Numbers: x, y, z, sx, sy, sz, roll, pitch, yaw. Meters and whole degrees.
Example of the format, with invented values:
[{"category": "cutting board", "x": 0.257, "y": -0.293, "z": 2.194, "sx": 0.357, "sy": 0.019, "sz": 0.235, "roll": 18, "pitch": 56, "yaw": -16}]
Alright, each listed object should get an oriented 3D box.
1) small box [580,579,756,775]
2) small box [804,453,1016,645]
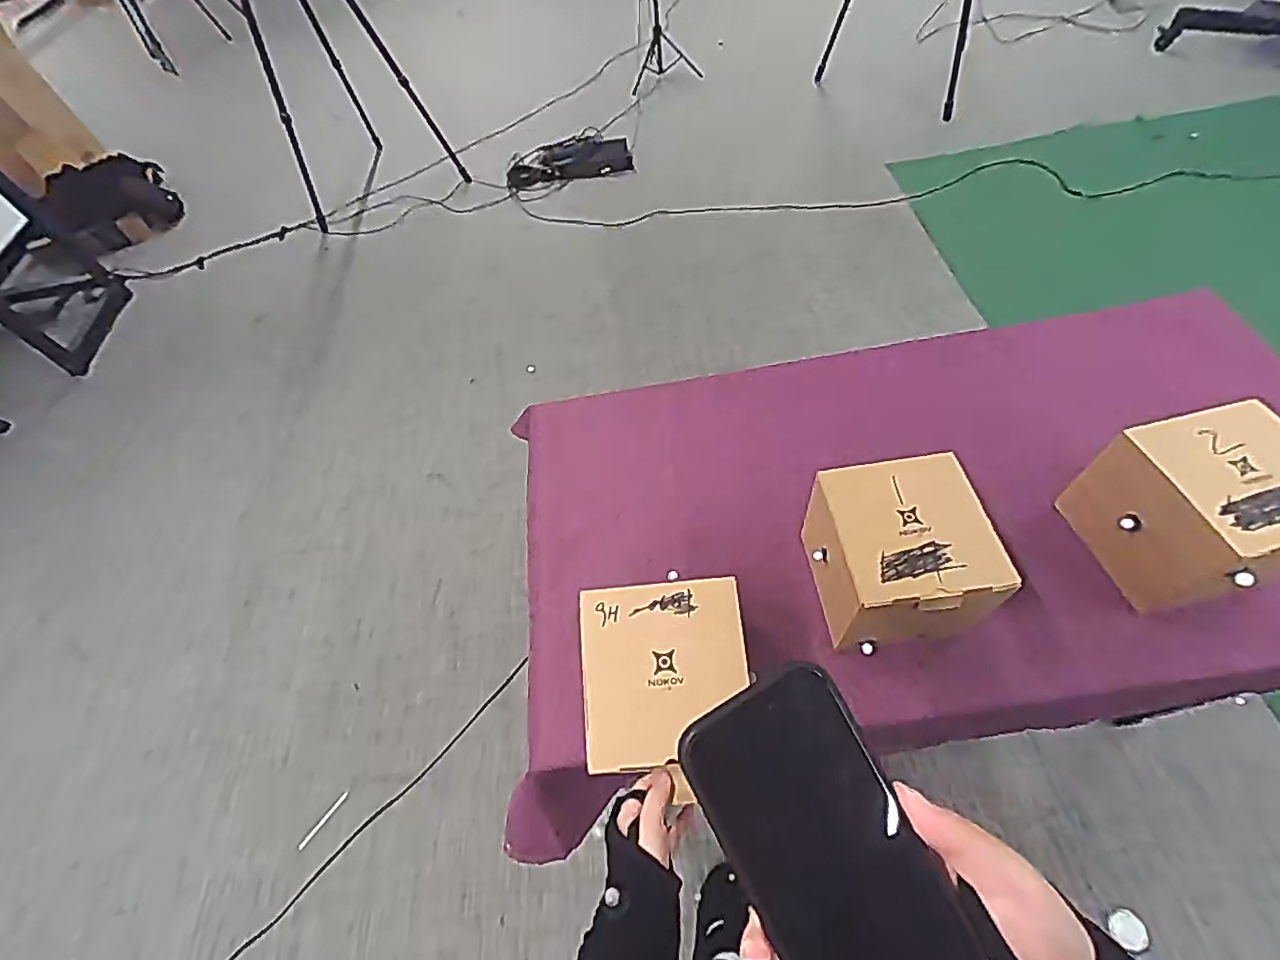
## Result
[{"category": "small box", "x": 0.033, "y": 0.216, "z": 0.612, "sx": 0.168, "sy": 0.176, "sz": 0.179, "roll": -7, "pitch": 71, "yaw": 4}, {"category": "small box", "x": 0.312, "y": 0.094, "z": 0.671, "sx": 0.168, "sy": 0.176, "sz": 0.179, "roll": -9, "pitch": 55, "yaw": 3}]
